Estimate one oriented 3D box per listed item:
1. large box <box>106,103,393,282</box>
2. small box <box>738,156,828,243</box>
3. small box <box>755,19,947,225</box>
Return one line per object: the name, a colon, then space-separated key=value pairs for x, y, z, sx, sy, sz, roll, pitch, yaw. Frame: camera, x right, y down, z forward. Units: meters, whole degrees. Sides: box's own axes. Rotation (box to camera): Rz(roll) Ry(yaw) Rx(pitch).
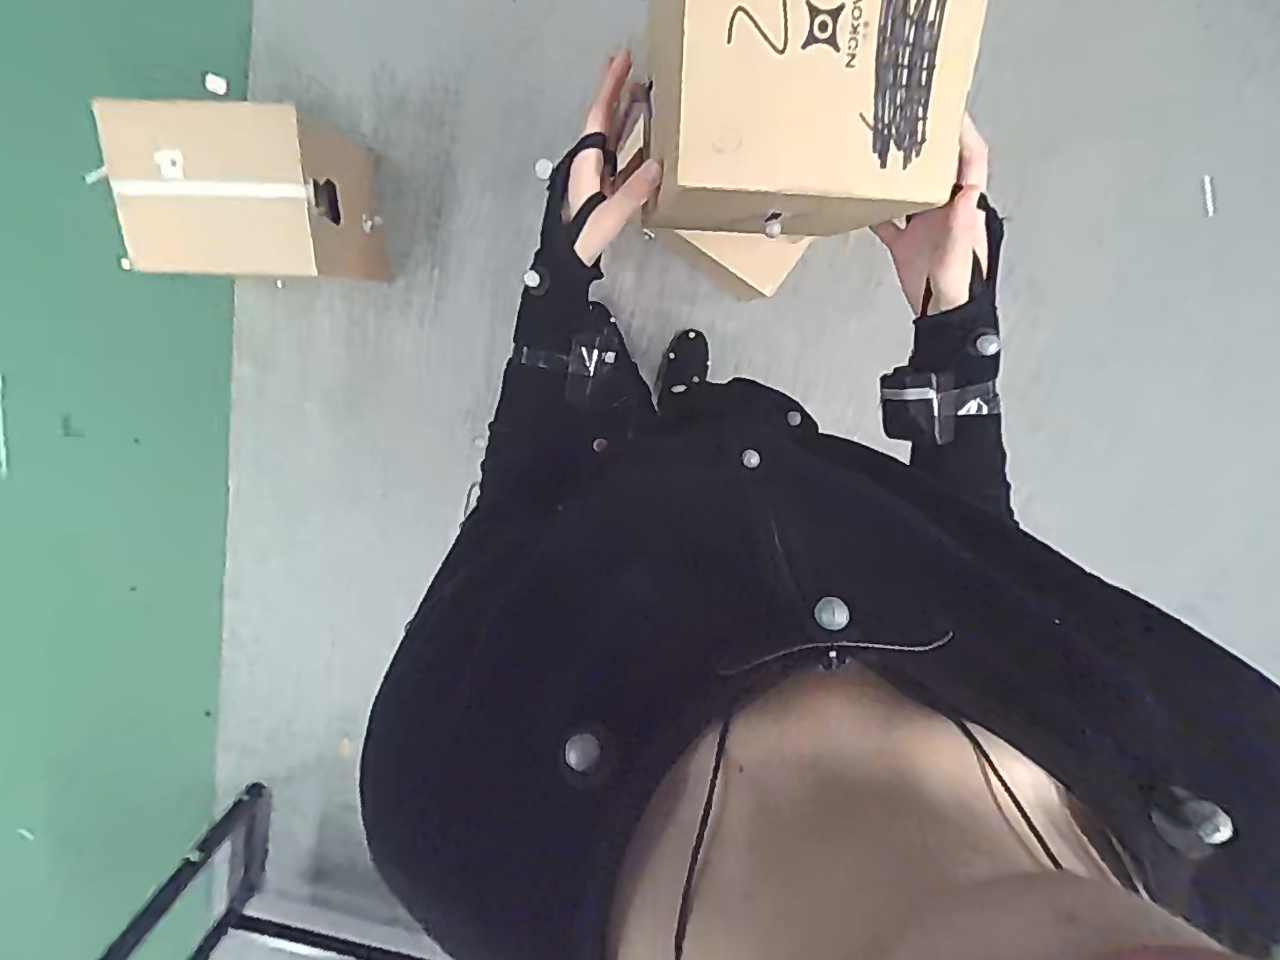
large box: x=-0.840 y=-0.623 z=1.229 sx=0.408 sy=0.320 sz=0.320 roll=3 pitch=106 yaw=2
small box: x=0.293 y=-0.552 z=0.956 sx=0.168 sy=0.176 sz=0.179 roll=34 pitch=103 yaw=-7
small box: x=0.296 y=-0.505 z=0.801 sx=0.179 sy=0.176 sz=0.168 roll=35 pitch=103 yaw=-7
